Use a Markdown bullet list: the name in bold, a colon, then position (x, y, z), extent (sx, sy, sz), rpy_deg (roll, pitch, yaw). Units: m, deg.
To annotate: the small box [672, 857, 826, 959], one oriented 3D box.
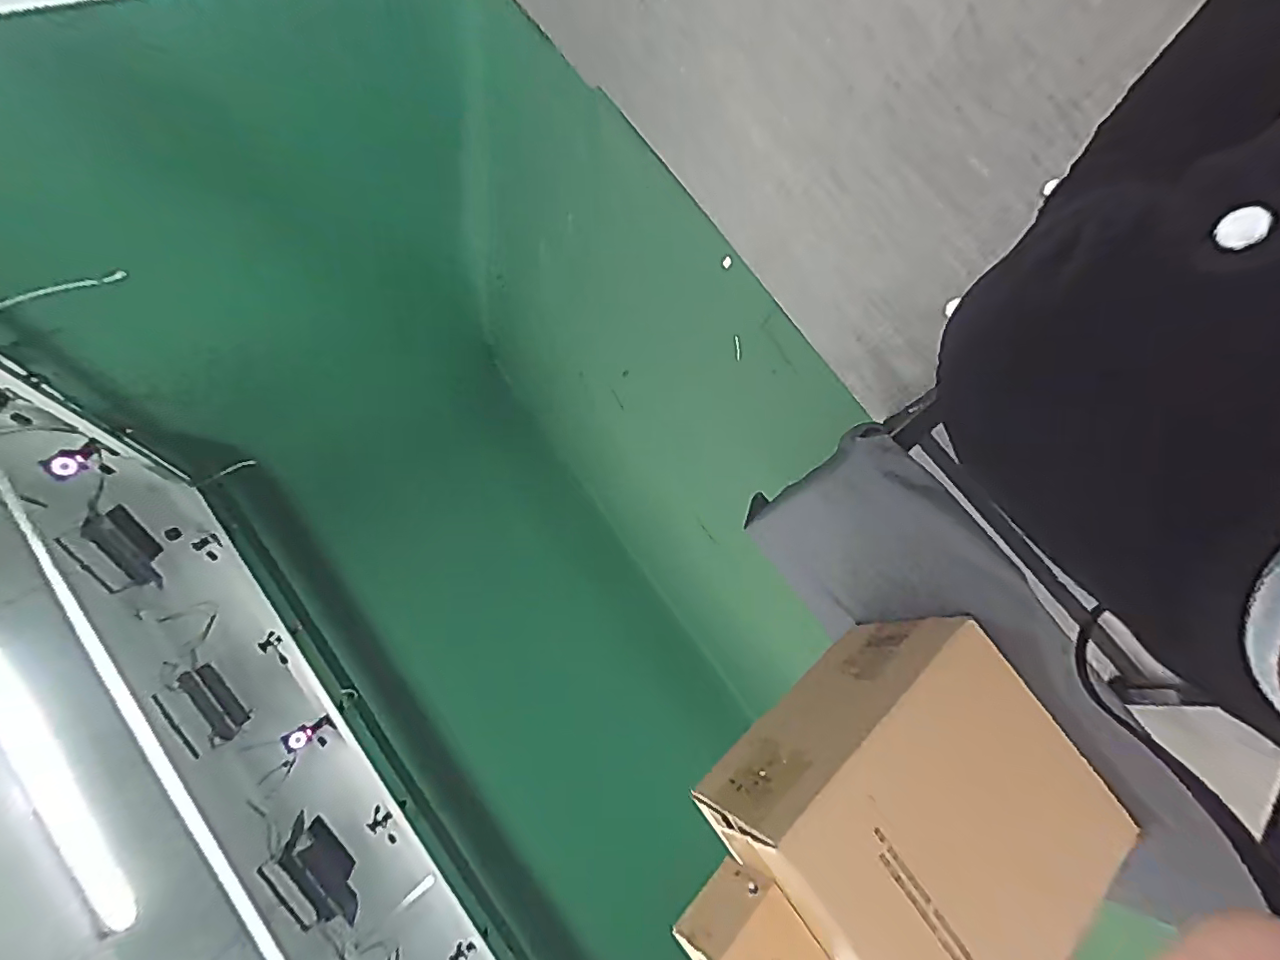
- **small box**: position (0.198, 0.844, 0.992), extent (0.179, 0.176, 0.168), rpy_deg (53, 150, 4)
